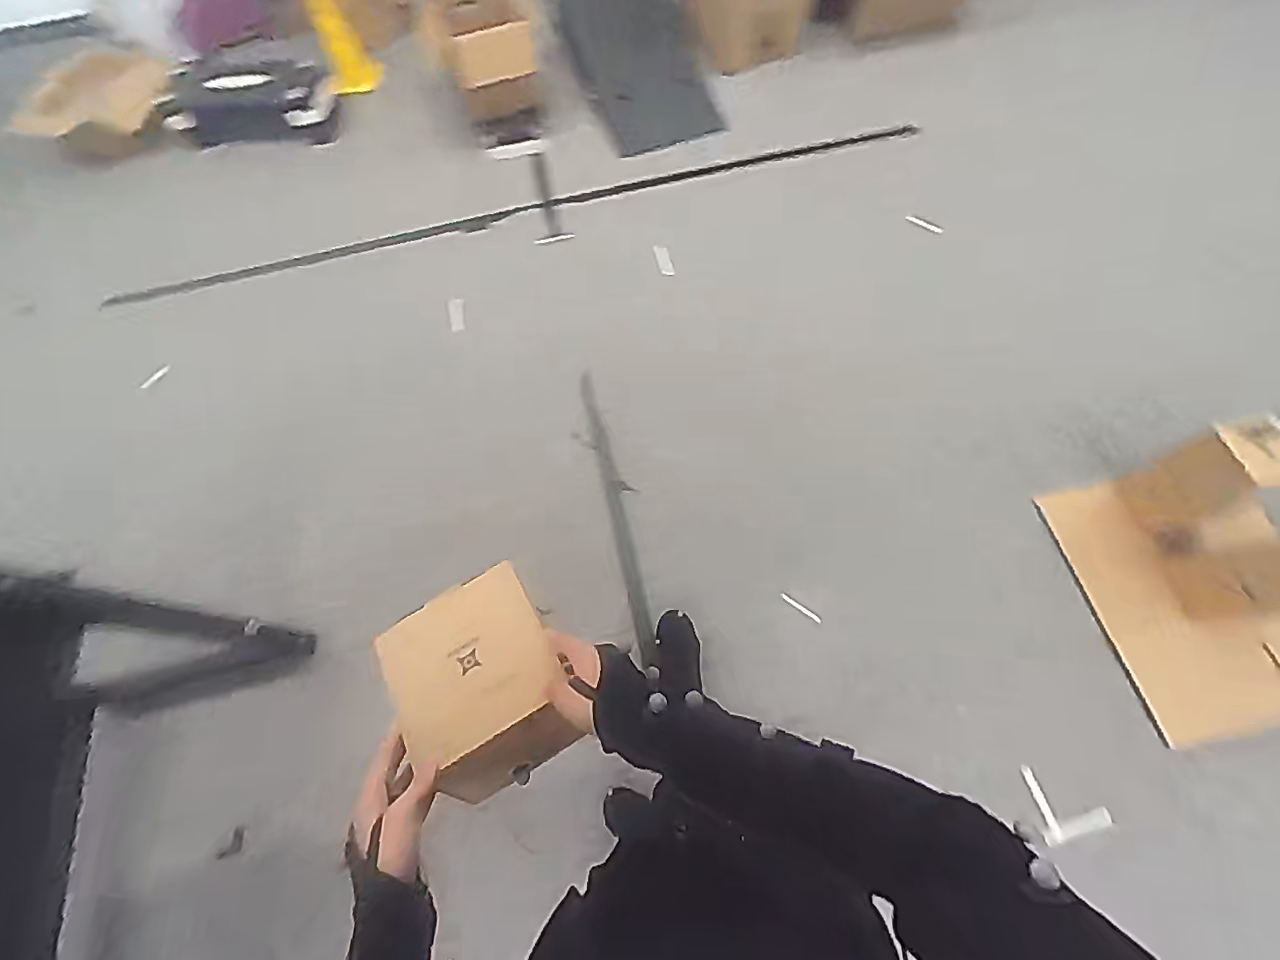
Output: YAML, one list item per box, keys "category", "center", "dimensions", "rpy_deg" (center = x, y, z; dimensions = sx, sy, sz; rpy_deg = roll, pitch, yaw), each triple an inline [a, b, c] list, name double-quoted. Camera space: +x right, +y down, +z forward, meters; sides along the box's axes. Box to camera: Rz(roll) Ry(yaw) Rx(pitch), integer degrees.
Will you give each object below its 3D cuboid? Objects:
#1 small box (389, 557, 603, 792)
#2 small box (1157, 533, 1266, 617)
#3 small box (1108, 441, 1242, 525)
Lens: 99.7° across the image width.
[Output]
- category: "small box"
  center: [-0.160, 0.229, 0.632]
  dimensions: [0.168, 0.176, 0.179]
  rpy_deg: [-28, 55, -13]
- category: "small box"
  center: [1.552, 0.259, 1.430]
  dimensions: [0.168, 0.176, 0.179]
  rpy_deg: [-11, 67, -2]
- category: "small box"
  center: [1.503, 0.018, 1.532]
  dimensions: [0.168, 0.176, 0.179]
  rpy_deg: [-12, 66, -3]
